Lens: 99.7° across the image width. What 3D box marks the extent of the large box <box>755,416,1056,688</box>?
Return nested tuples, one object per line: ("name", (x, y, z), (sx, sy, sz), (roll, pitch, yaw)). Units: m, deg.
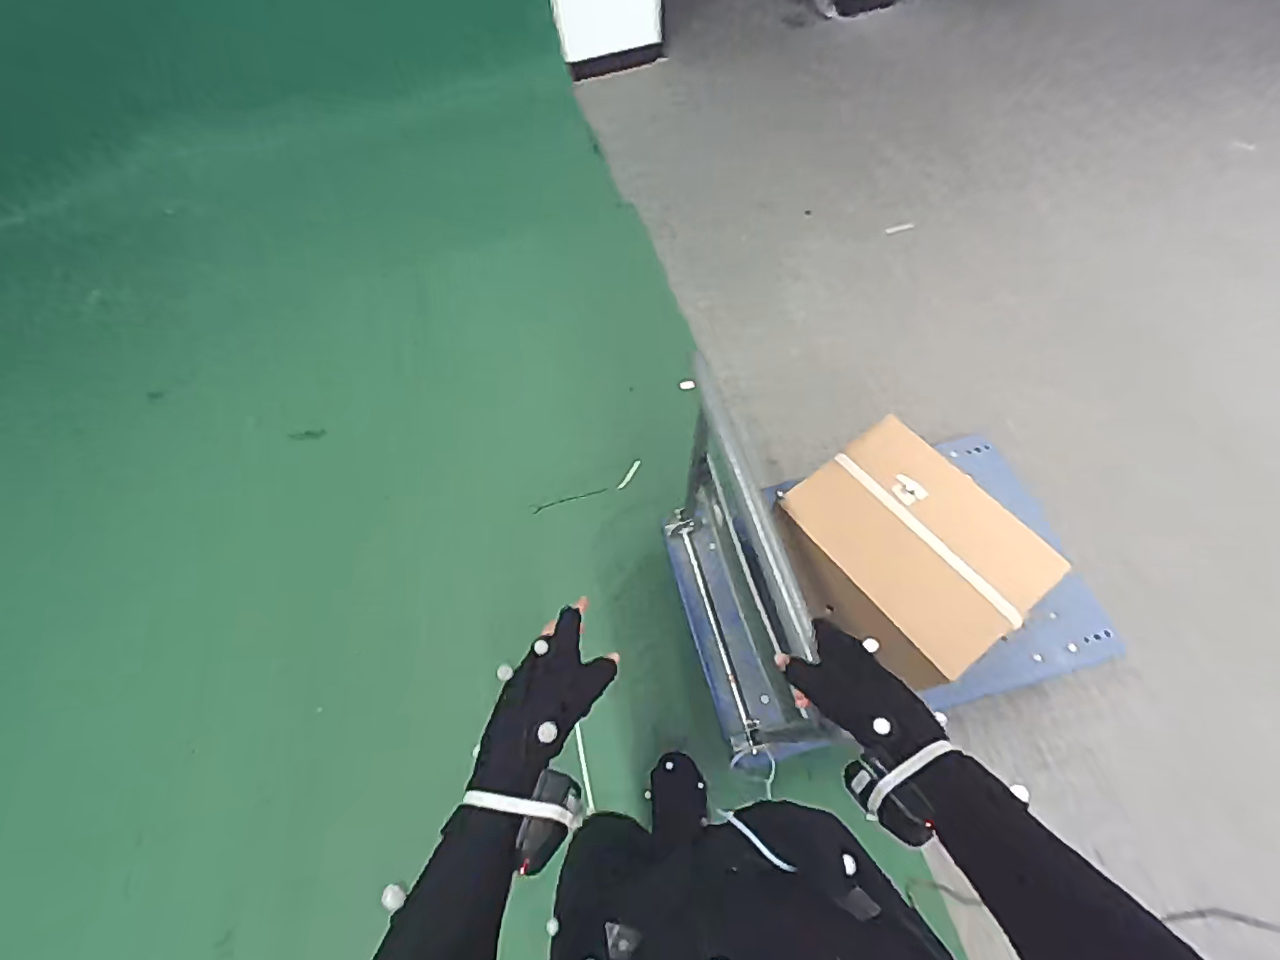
("large box", (0.495, 0.155, 1.111), (0.320, 0.320, 0.408), (-35, 66, -13))
